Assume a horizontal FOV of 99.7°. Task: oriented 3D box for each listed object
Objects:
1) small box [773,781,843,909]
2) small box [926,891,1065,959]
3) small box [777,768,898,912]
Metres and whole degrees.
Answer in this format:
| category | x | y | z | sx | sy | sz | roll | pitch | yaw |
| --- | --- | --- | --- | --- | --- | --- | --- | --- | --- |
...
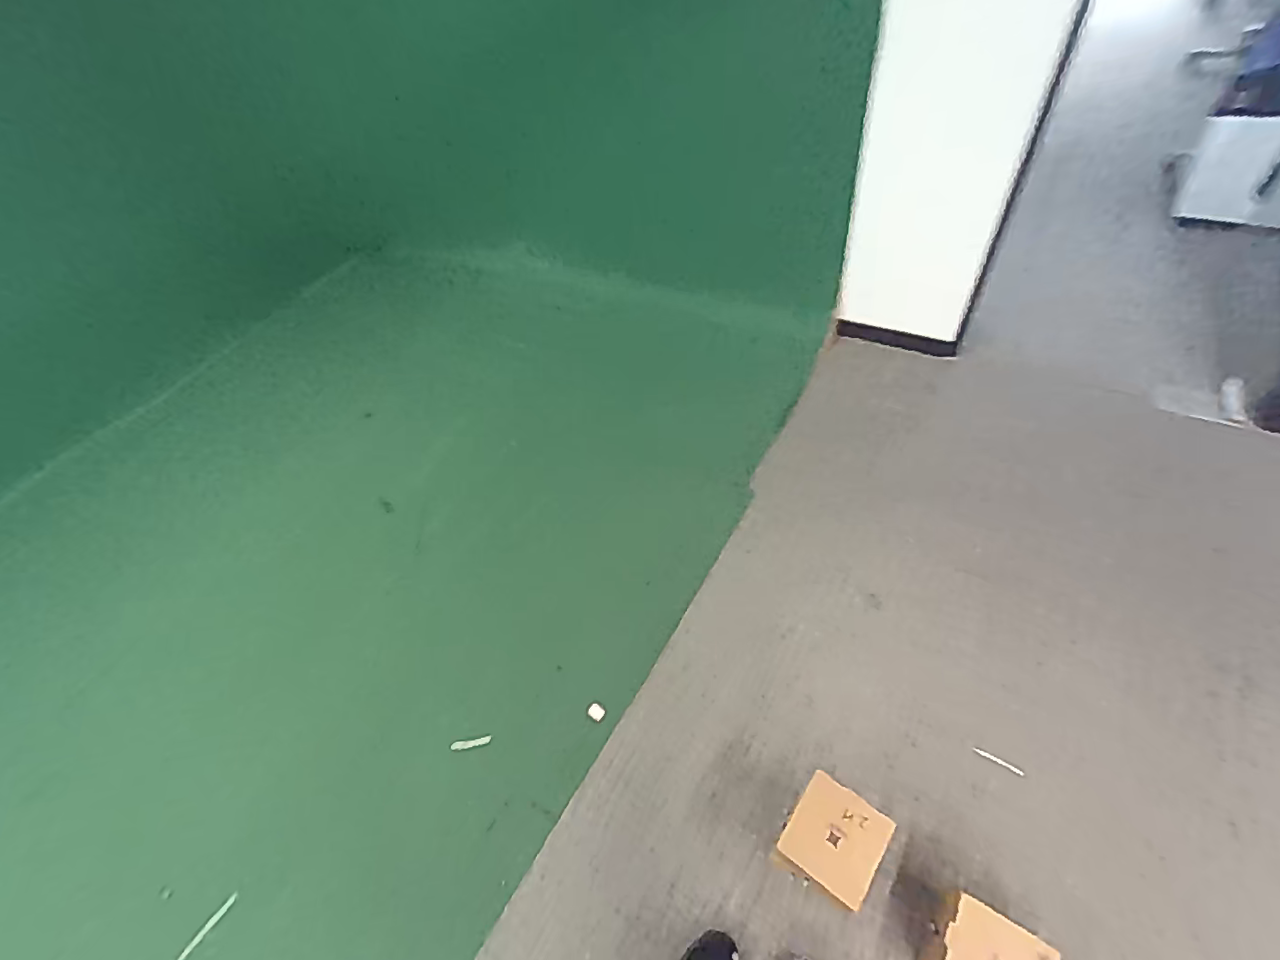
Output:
| category | x | y | z | sx | sy | sz | roll | pitch | yaw |
| --- | --- | --- | --- | --- | --- | --- | --- | --- | --- |
| small box | 0.418 | 0.832 | 1.233 | 0.168 | 0.176 | 0.179 | 27 | 61 | 28 |
| small box | 0.692 | 0.963 | 1.072 | 0.179 | 0.176 | 0.168 | 23 | 61 | 28 |
| small box | 0.395 | 0.734 | 1.103 | 0.168 | 0.176 | 0.179 | 29 | 62 | 29 |
